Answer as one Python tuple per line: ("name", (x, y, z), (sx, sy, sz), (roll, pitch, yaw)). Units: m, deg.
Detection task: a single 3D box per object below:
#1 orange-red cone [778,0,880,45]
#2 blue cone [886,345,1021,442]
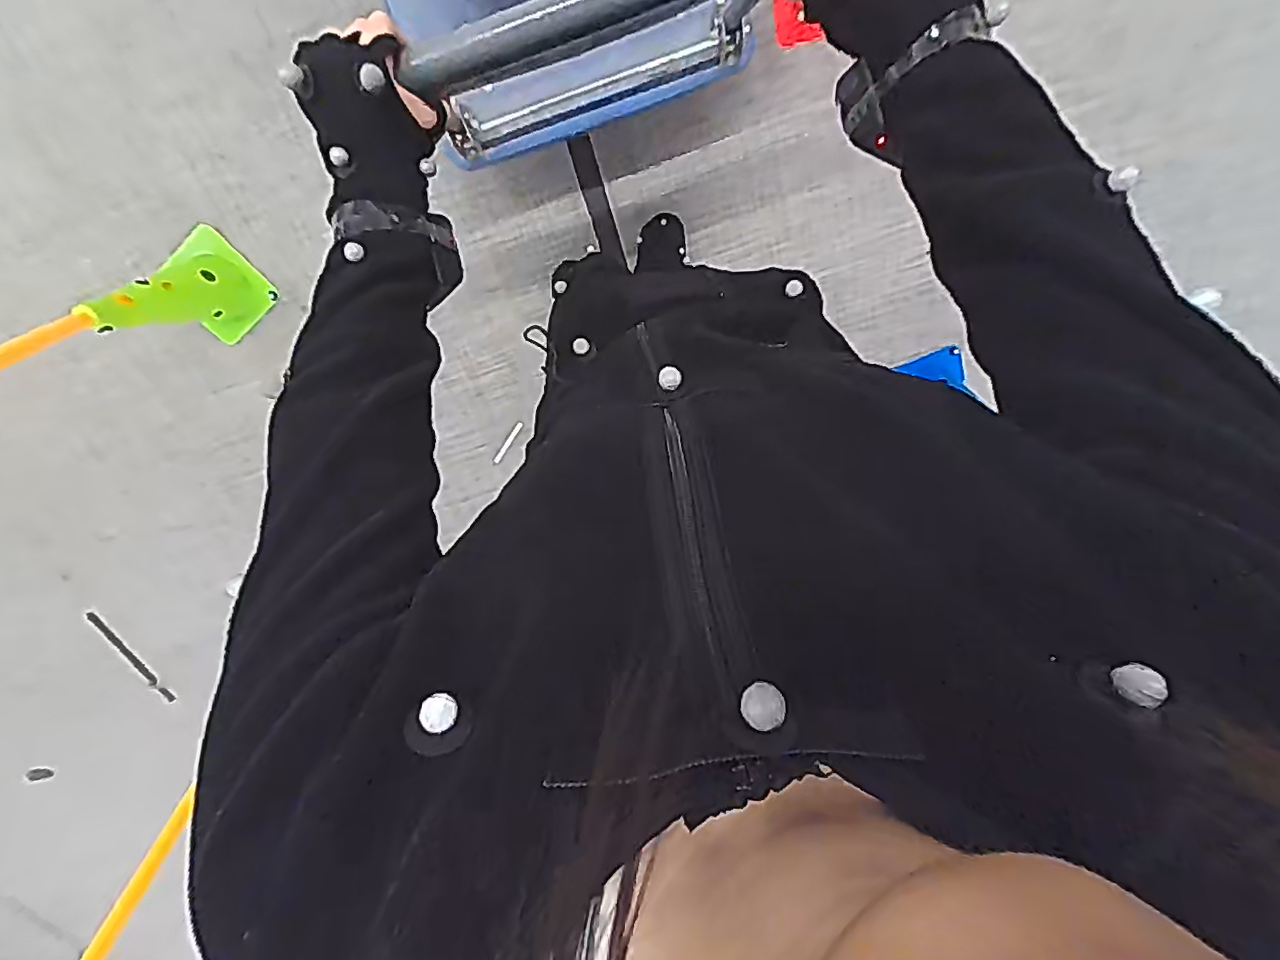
("orange-red cone", (0.368, -0.885, 0.876), (0.199, 0.360, 0.198), (-11, 118, 2))
("blue cone", (0.761, -0.167, 1.277), (0.193, 0.380, 0.192), (-21, 115, 8))
